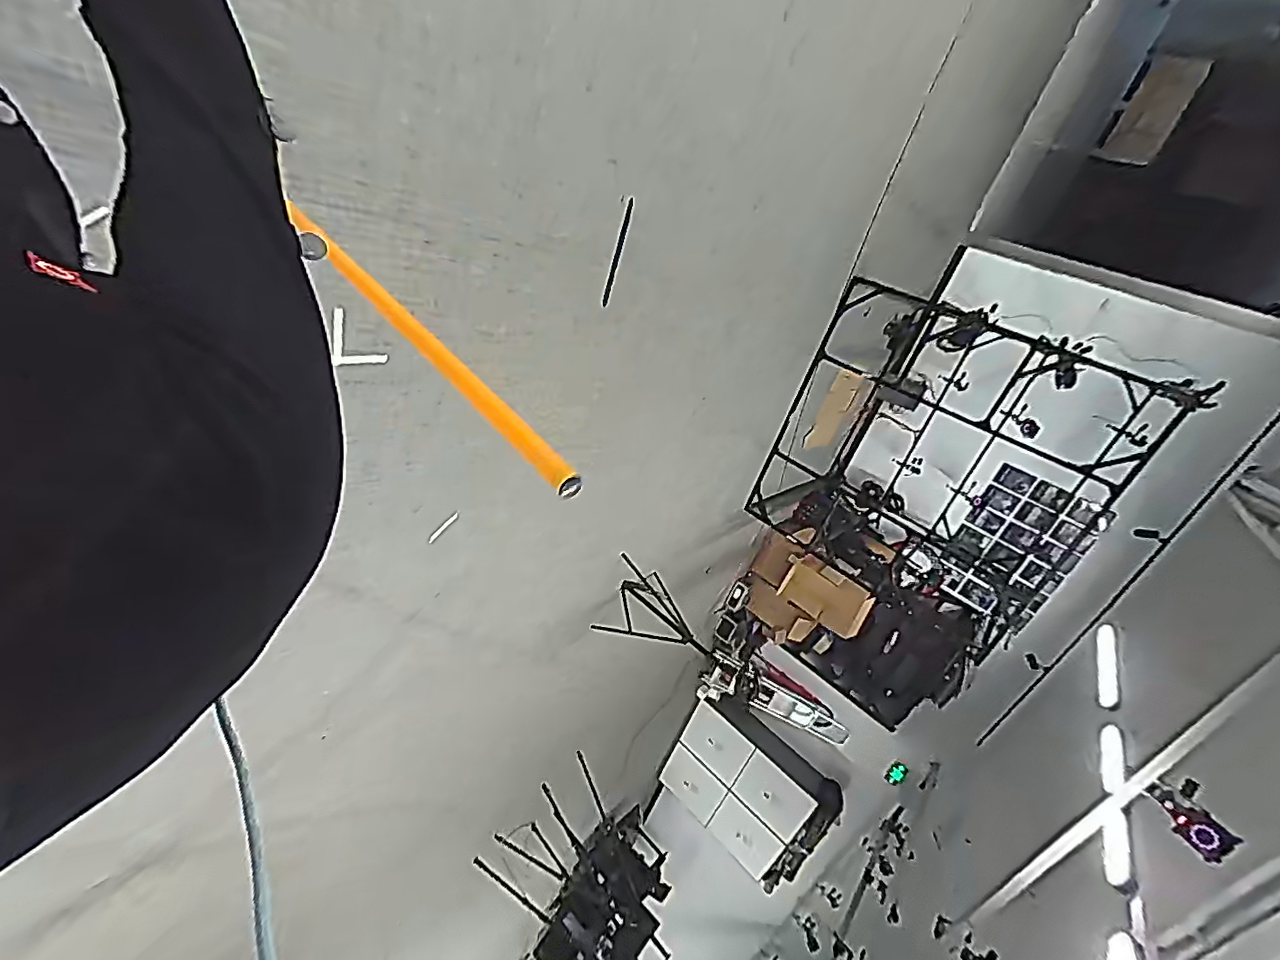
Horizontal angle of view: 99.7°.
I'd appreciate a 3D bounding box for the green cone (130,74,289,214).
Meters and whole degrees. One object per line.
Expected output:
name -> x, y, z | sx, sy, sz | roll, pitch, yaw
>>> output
green cone -> -0.748, -0.565, 0.989 | 0.202, 0.368, 0.200 | -11, 129, -54
